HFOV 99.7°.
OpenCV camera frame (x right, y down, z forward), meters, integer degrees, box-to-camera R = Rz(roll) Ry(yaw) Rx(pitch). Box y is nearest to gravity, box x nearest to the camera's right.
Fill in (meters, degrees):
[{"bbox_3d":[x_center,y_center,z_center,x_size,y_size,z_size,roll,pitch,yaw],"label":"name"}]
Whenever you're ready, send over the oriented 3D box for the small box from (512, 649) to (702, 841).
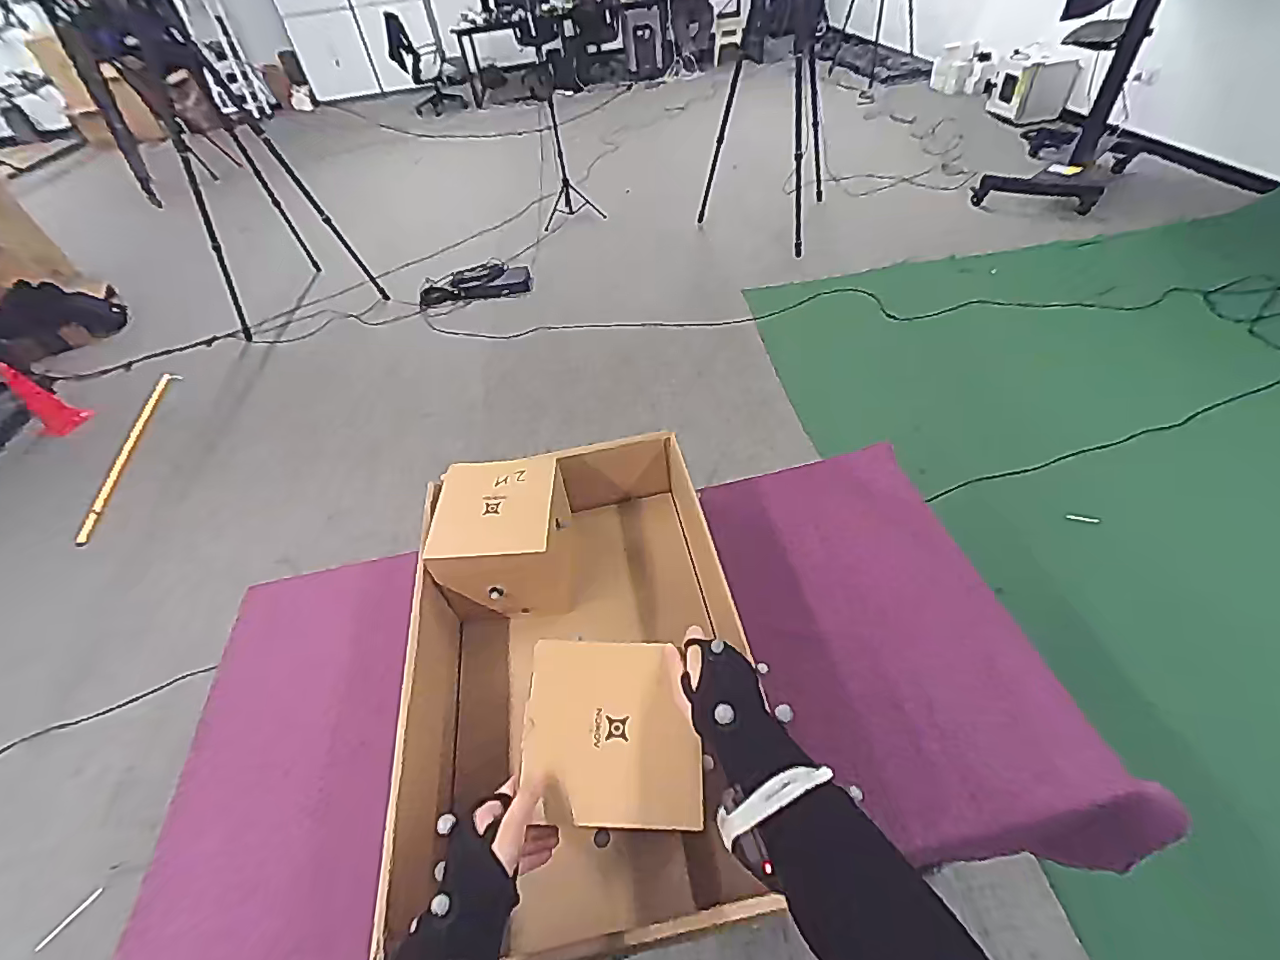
[{"bbox_3d":[-0.023,0.291,0.599,0.179,0.176,0.168,-1,60,5],"label":"small box"}]
